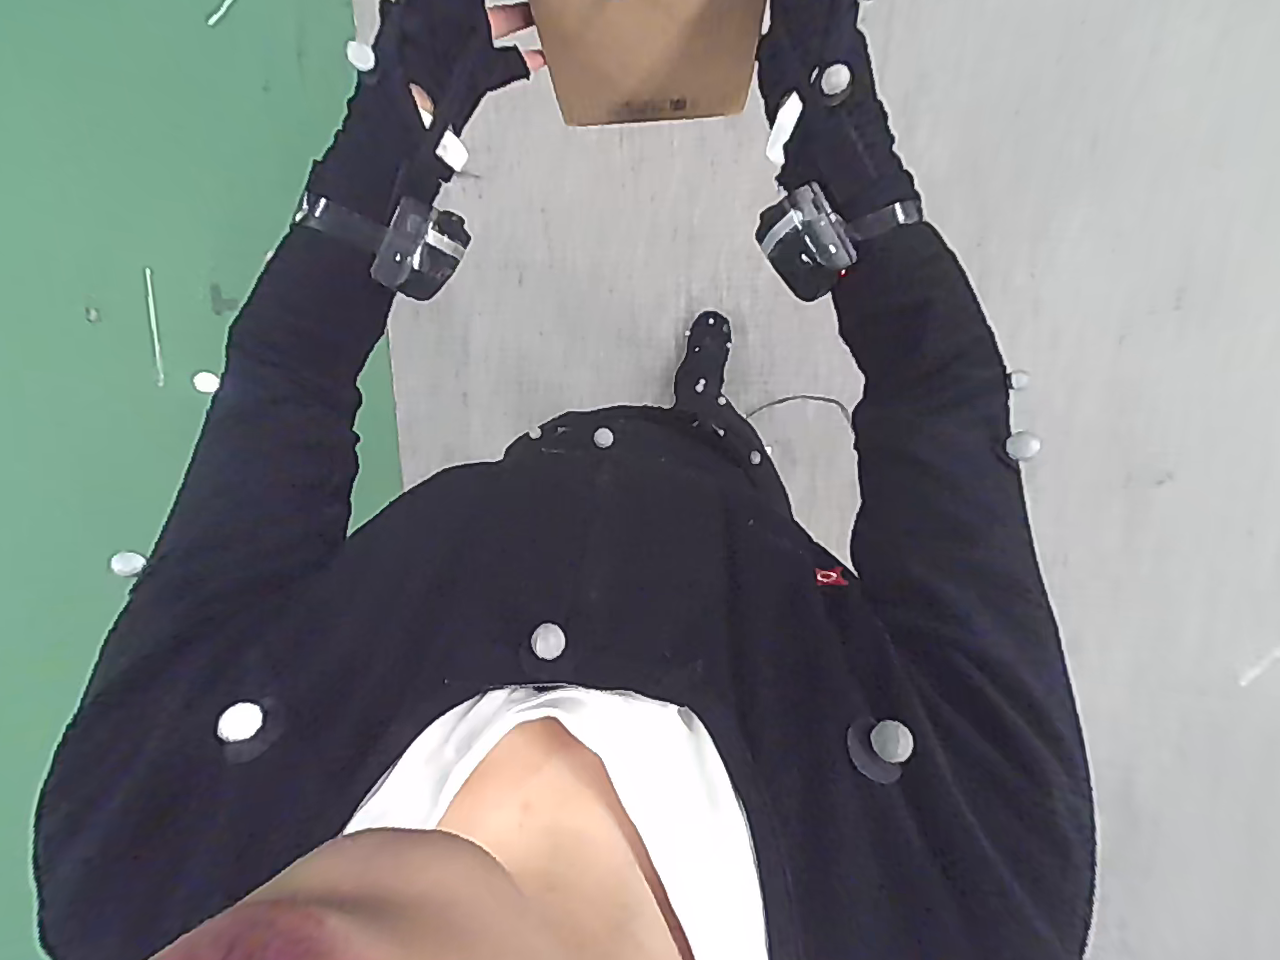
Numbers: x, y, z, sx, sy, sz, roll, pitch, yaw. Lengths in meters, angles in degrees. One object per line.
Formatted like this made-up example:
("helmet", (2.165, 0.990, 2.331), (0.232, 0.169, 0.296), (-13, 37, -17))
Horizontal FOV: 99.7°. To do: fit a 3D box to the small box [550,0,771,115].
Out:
("small box", (0.013, -0.424, 0.414), (0.168, 0.176, 0.179), (-1, 87, 4))
